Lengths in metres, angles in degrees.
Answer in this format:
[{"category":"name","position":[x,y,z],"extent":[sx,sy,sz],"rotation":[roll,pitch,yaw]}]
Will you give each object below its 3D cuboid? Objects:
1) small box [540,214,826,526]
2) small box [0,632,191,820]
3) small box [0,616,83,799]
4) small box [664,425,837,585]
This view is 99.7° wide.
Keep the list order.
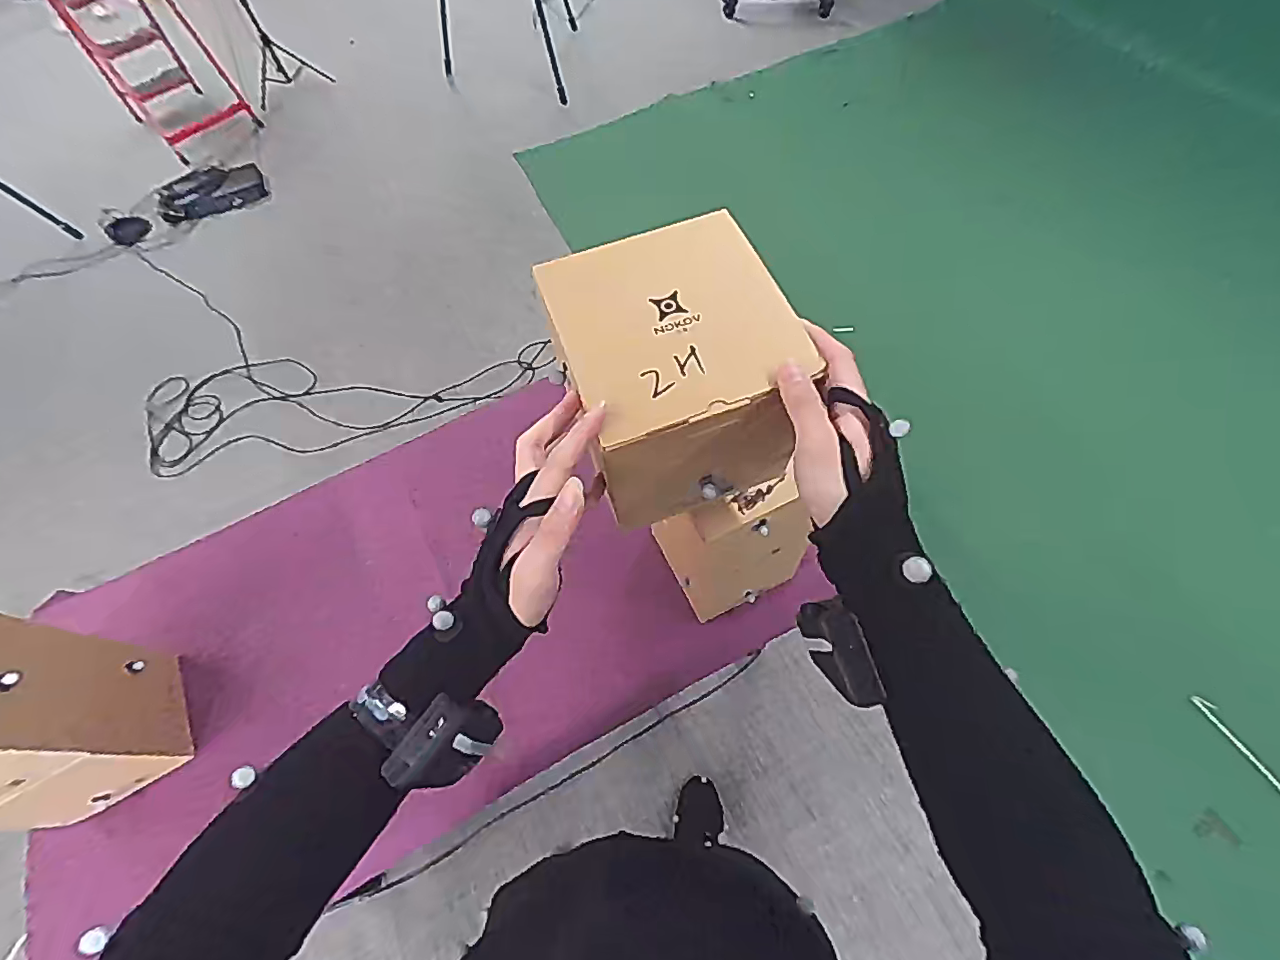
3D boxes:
[{"category":"small box","position":[0.027,-0.085,0.467],"extent":[0.168,0.176,0.179],"rotation":[-19,66,-6]},{"category":"small box","position":[-0.774,0.342,0.745],"extent":[0.168,0.176,0.179],"rotation":[-30,64,-11]},{"category":"small box","position":[-0.785,0.264,0.601],"extent":[0.168,0.176,0.179],"rotation":[-30,64,-11]},{"category":"small box","position":[0.108,0.001,0.669],"extent":[0.168,0.176,0.179],"rotation":[-25,61,-7]}]
